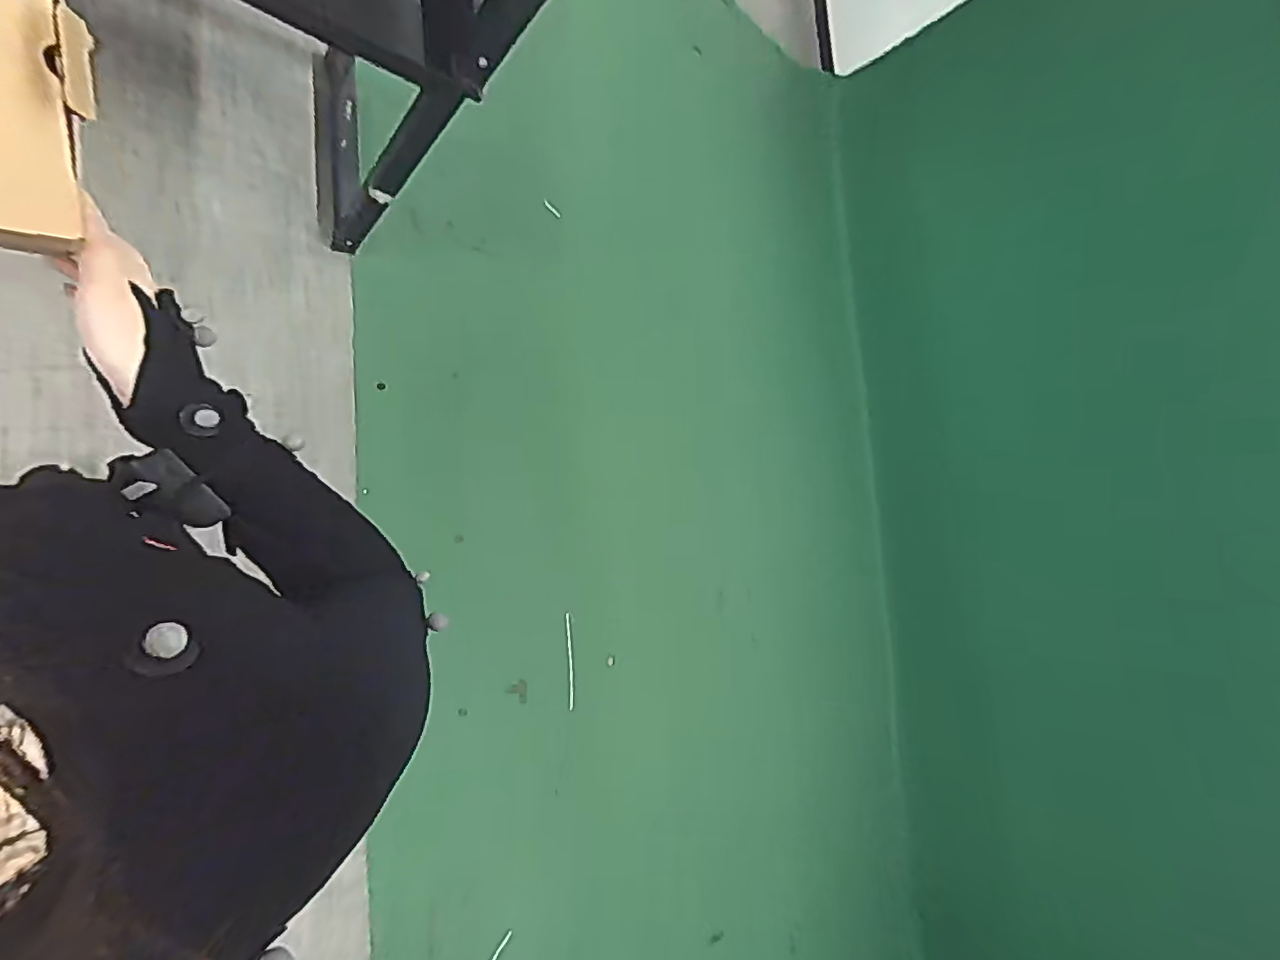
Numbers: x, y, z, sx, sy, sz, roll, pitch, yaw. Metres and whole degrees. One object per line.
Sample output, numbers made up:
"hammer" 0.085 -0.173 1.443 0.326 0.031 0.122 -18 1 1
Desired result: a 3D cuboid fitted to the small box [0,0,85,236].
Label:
"small box" -0.394 -0.218 0.248 0.179 0.176 0.168 -9 109 -46
